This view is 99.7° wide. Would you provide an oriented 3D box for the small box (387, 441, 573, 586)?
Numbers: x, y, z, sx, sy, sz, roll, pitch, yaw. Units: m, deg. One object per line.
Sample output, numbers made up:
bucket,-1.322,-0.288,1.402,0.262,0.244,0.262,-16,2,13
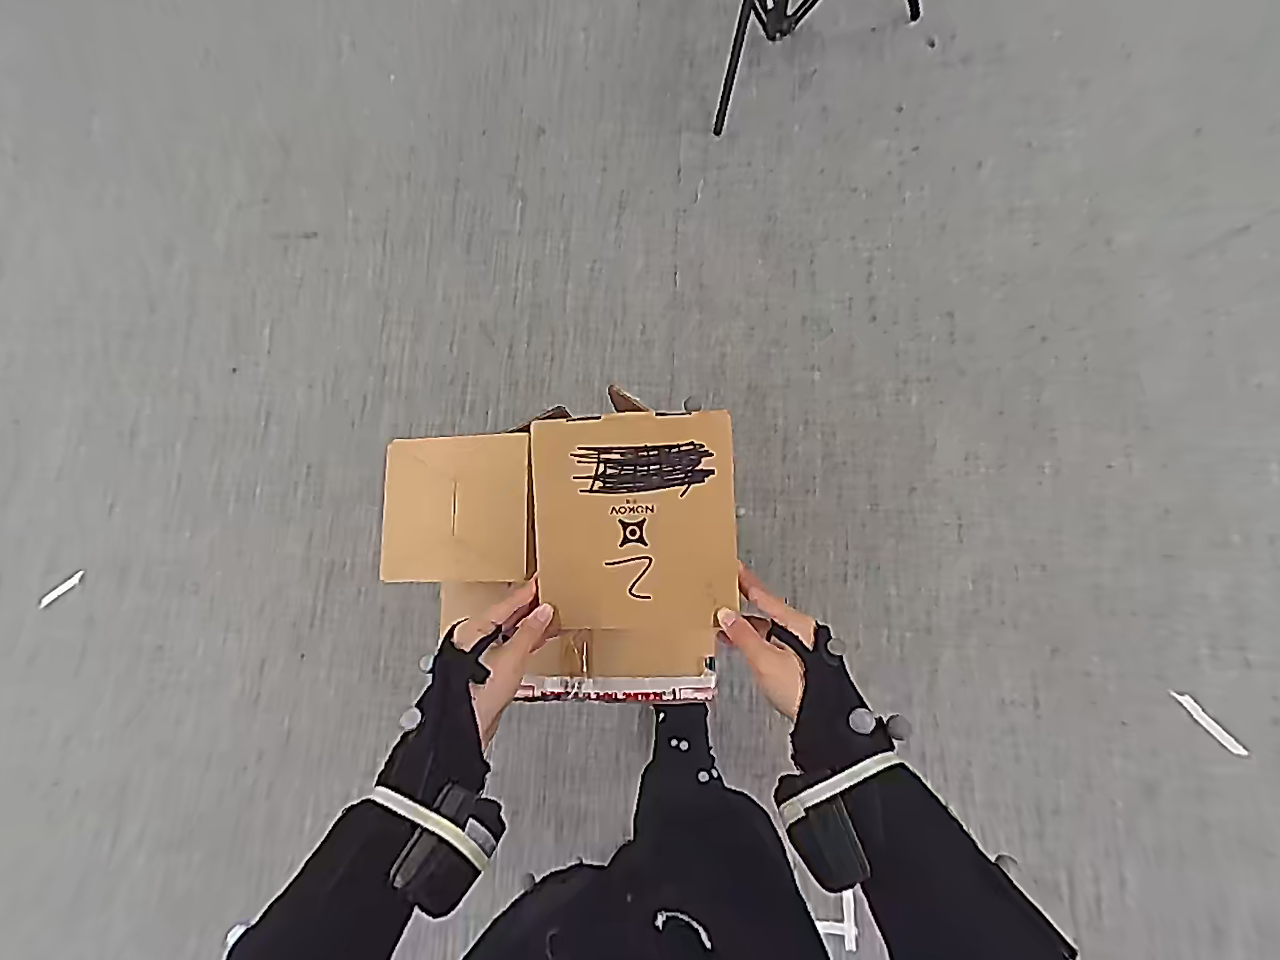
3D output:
small box,-0.193,0.049,0.692,0.179,0.176,0.168,-2,81,8
